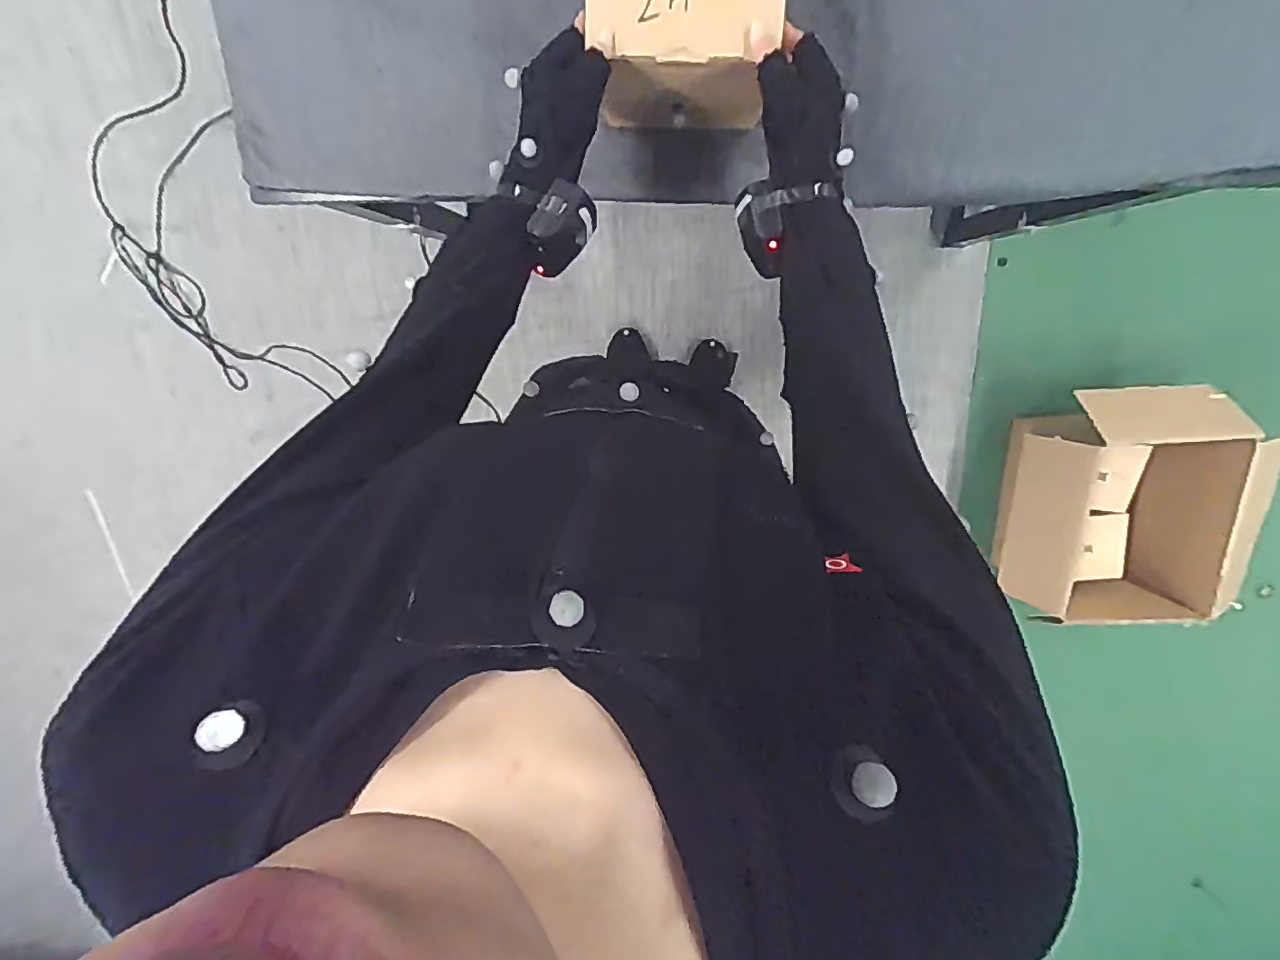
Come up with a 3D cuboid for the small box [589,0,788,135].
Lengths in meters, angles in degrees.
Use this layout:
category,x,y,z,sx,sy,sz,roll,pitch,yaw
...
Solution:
category,x,y,z,sx,sy,sz,roll,pitch,yaw
small box,0.047,-0.455,0.509,0.168,0.176,0.179,3,107,3
